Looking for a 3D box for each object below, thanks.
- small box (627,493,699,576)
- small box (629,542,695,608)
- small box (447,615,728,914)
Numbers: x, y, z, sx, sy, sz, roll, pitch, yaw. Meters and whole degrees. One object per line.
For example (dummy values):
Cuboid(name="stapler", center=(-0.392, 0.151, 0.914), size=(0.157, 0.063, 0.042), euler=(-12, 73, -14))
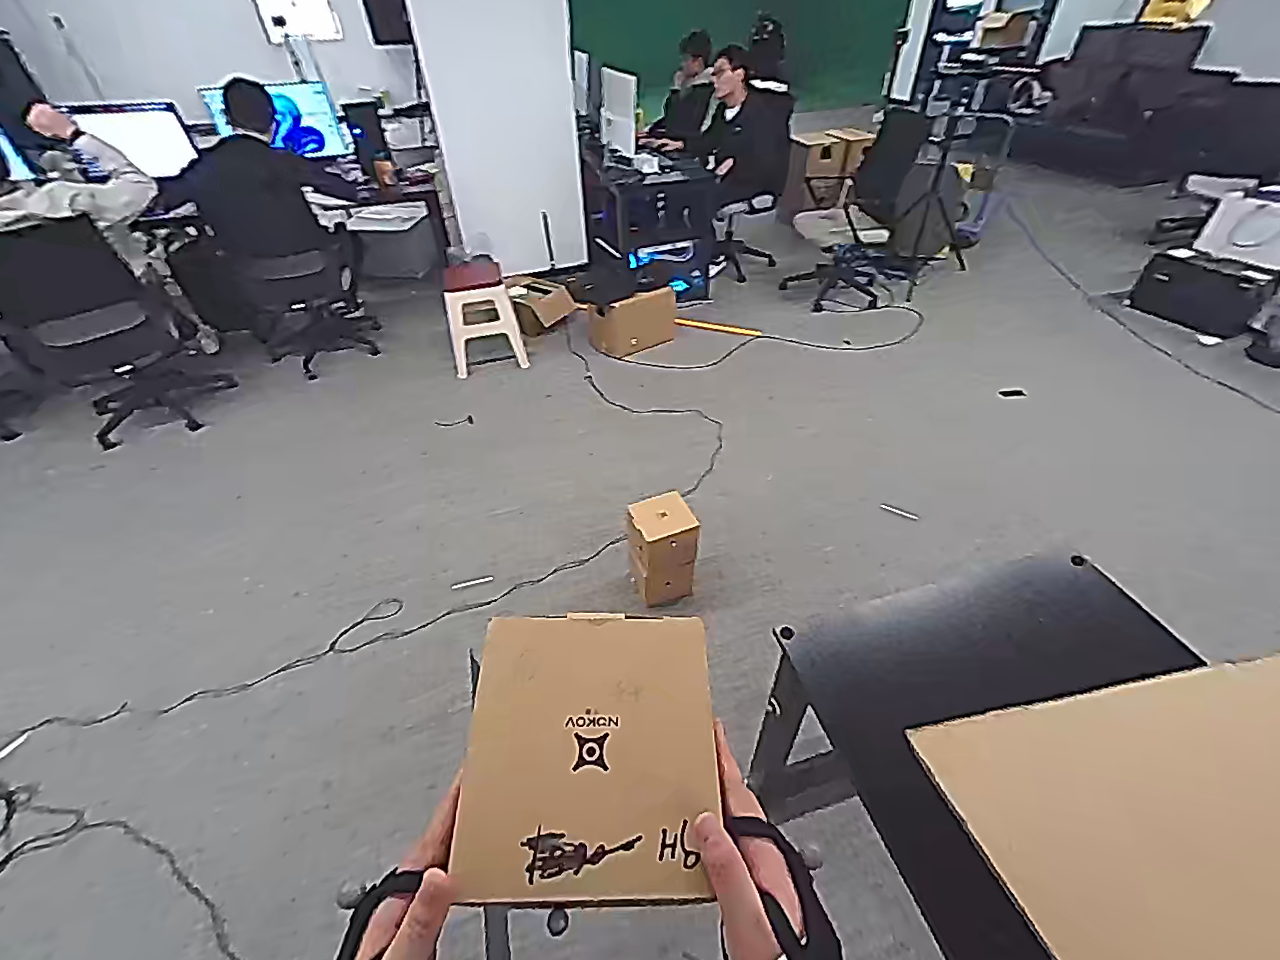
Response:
Cuboid(name="small box", center=(0.071, 0.175, 1.703), size=(0.179, 0.176, 0.168), euler=(-16, 44, -16))
Cuboid(name="small box", center=(0.071, 0.298, 1.810), size=(0.179, 0.176, 0.168), euler=(-15, 43, -13))
Cuboid(name="small box", center=(-0.035, 0.224, 0.425), size=(0.168, 0.176, 0.179), euler=(0, 50, -3))
